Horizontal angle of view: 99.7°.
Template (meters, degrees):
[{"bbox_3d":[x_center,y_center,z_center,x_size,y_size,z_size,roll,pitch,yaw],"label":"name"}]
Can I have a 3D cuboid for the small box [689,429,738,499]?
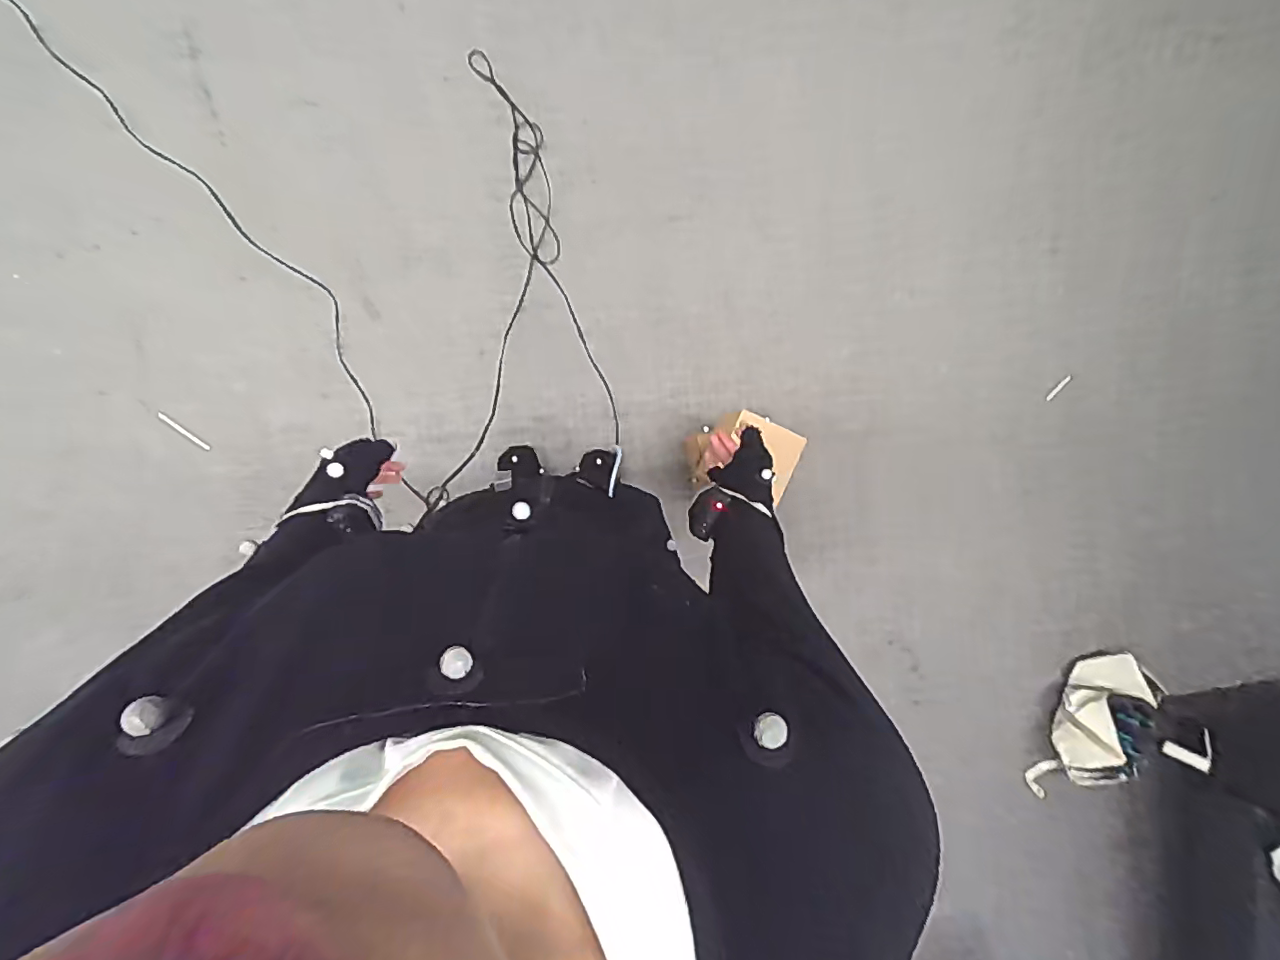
[{"bbox_3d":[0.232,-0.052,1.421,0.179,0.176,0.168,-11,97,-6],"label":"small box"}]

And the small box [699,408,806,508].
[{"bbox_3d":[0.254,-0.055,1.274,0.168,0.176,0.179,24,93,-8],"label":"small box"}]
